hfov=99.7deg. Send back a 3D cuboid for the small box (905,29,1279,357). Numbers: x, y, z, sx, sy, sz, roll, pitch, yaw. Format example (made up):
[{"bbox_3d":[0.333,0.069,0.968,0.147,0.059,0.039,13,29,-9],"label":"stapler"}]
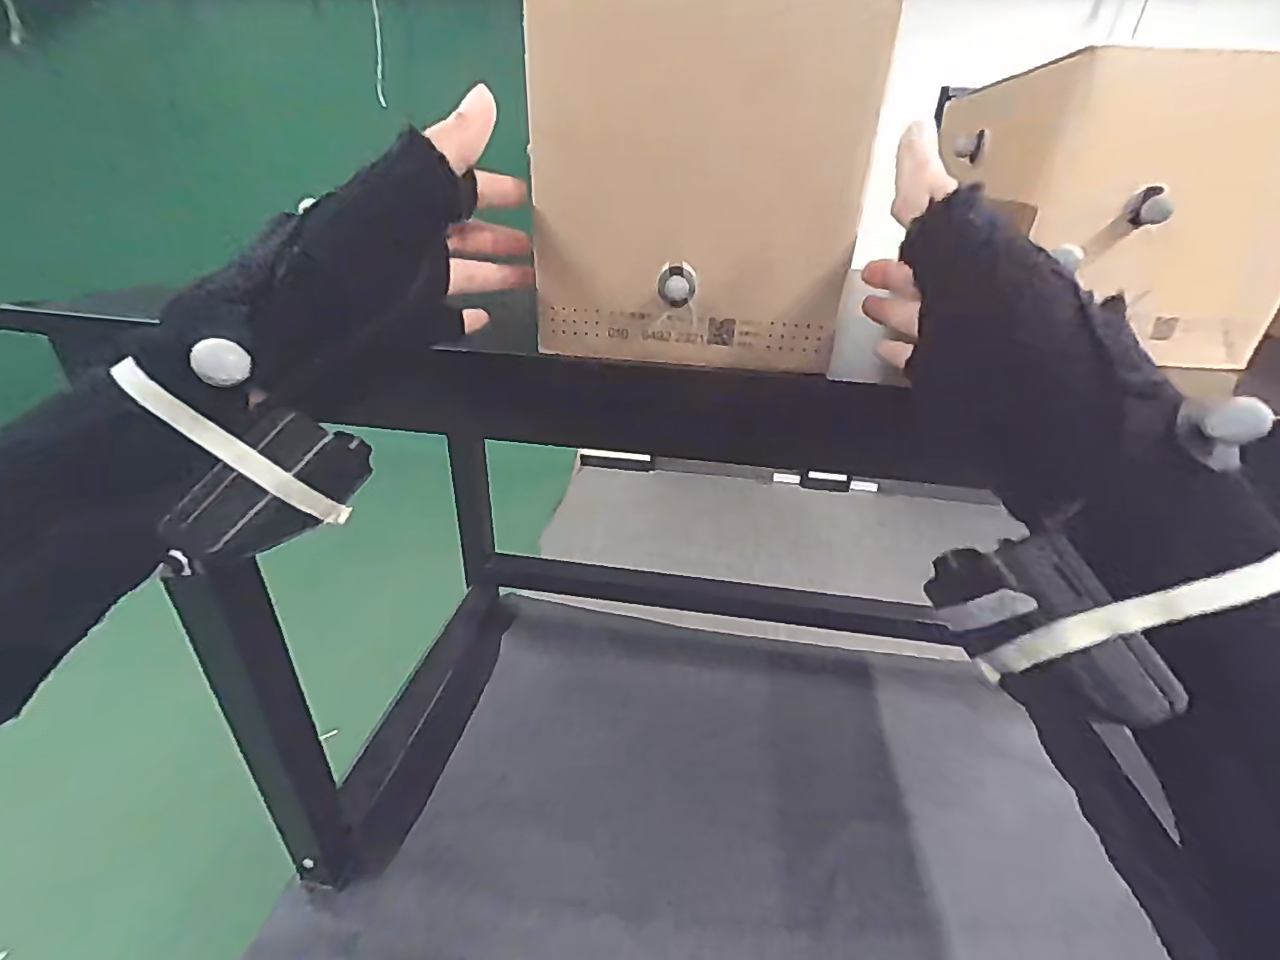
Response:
[{"bbox_3d":[0.318,-0.191,0.385,0.168,0.176,0.179,4,27,2],"label":"small box"}]
